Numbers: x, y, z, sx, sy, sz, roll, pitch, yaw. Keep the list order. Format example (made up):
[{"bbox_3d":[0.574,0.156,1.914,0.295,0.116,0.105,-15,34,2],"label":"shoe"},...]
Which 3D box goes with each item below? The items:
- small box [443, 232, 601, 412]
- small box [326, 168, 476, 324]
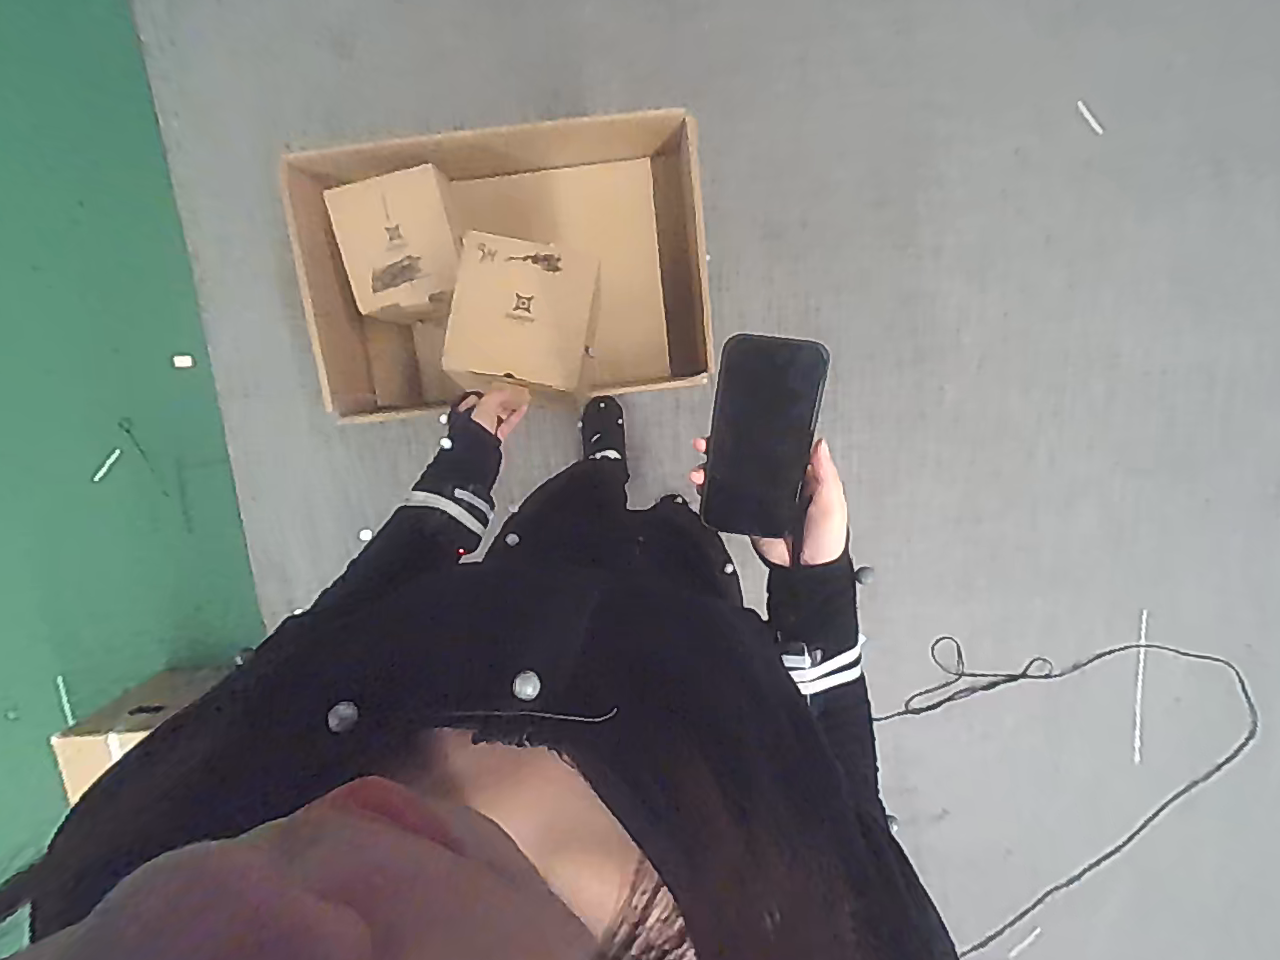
[{"bbox_3d":[-0.147,-0.199,0.737,0.168,0.176,0.179,11,86,-3],"label":"small box"},{"bbox_3d":[-0.350,-0.354,0.859,0.168,0.176,0.179,-13,98,3],"label":"small box"}]
